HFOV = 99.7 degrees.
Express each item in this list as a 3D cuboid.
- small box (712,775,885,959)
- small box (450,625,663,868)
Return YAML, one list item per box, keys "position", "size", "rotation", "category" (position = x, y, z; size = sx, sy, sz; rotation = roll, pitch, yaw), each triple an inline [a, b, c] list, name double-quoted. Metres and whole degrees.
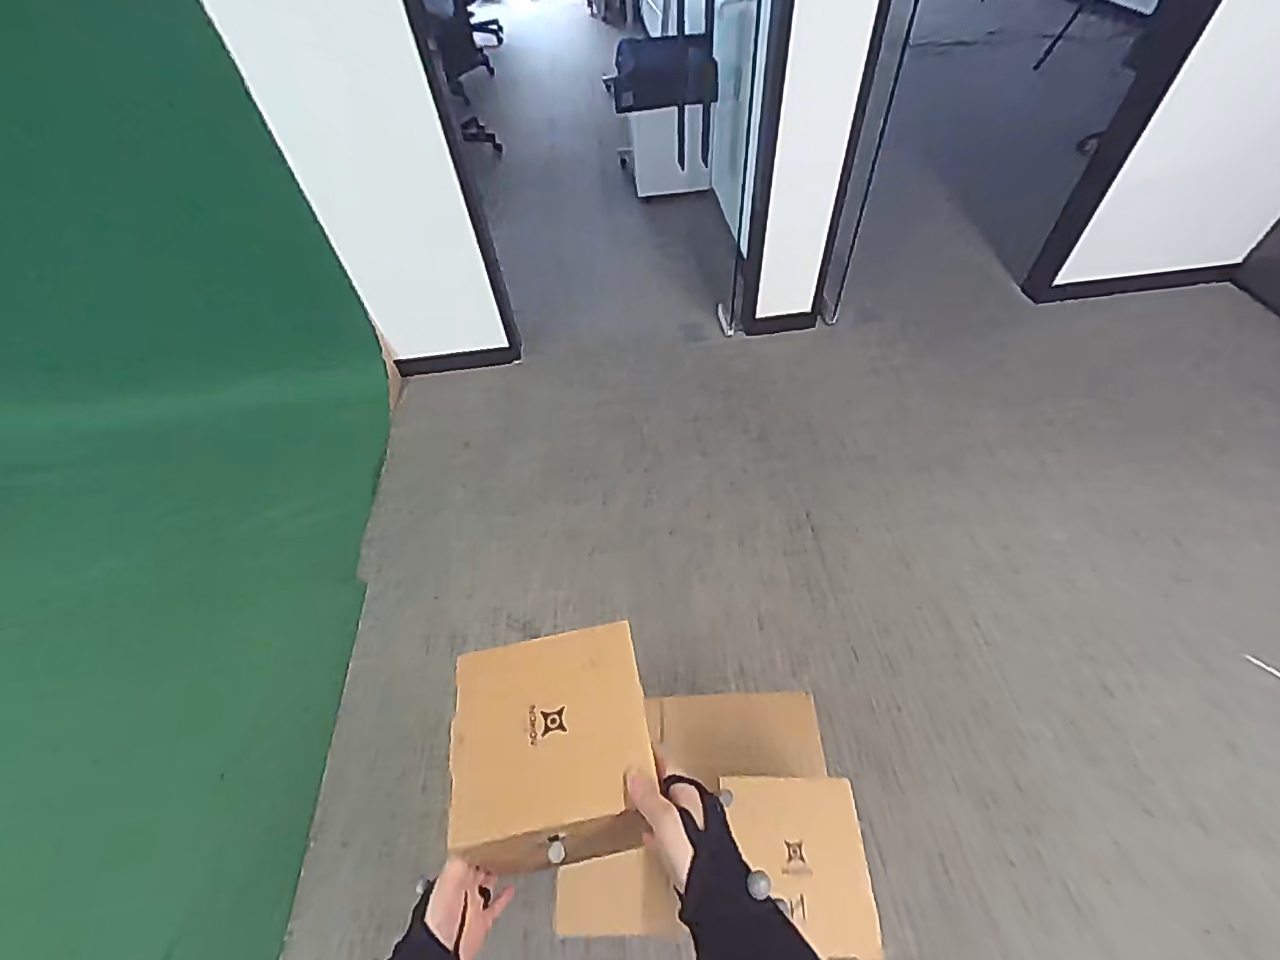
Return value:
- position: [0.183, 0.492, 0.686]
  size: [0.168, 0.176, 0.179]
  rotation: [-1, 51, 3]
  category: "small box"
- position: [-0.075, 0.275, 0.554]
  size: [0.179, 0.176, 0.168]
  rotation: [-11, 47, -2]
  category: "small box"
